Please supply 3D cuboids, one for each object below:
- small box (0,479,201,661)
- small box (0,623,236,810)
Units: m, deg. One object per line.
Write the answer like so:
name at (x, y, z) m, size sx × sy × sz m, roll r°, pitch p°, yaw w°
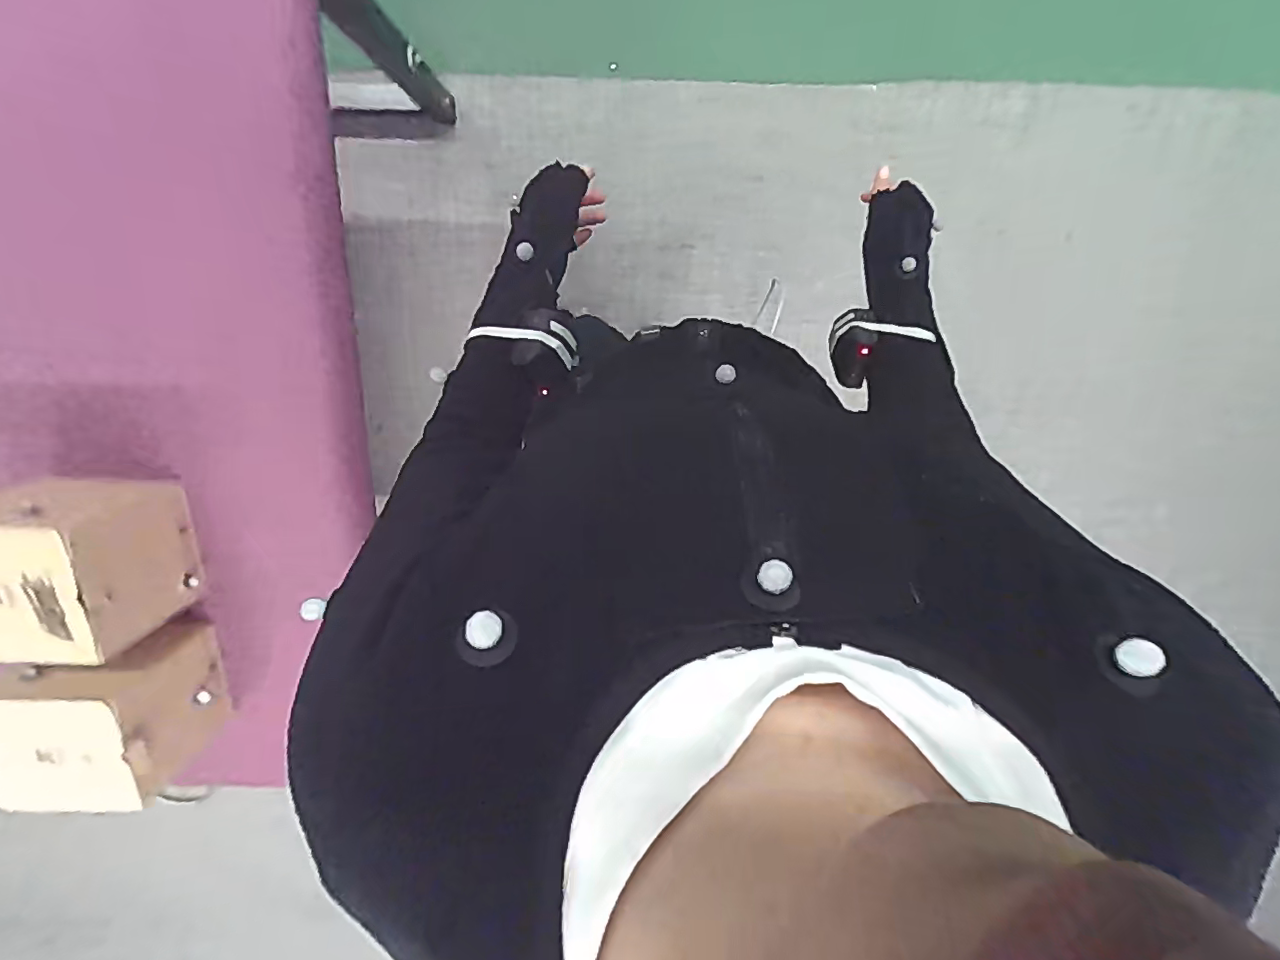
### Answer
small box at (-0.688, 0.101, 0.666) m, size 0.179 × 0.176 × 0.168 m, roll 2°, pitch 106°, yaw -1°
small box at (-0.699, 0.306, 0.727) m, size 0.179 × 0.176 × 0.168 m, roll 2°, pitch 107°, yaw -2°
